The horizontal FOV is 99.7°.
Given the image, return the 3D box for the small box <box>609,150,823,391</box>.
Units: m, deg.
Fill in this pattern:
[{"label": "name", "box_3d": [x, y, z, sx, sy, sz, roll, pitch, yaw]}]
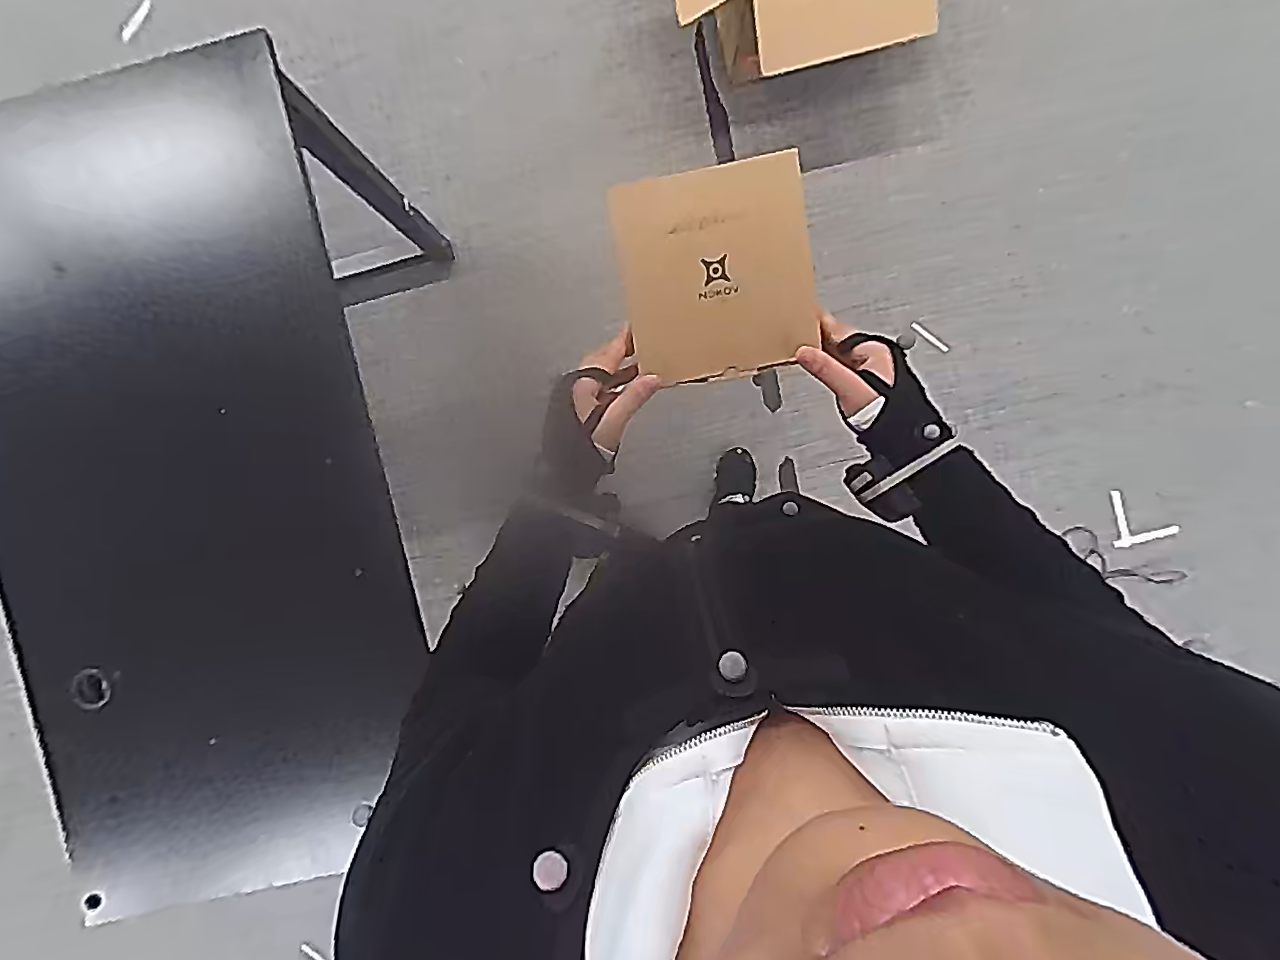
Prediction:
[{"label": "small box", "box_3d": [0.071, -0.192, 0.548, 0.168, 0.176, 0.179, -11, 99, 3]}]
